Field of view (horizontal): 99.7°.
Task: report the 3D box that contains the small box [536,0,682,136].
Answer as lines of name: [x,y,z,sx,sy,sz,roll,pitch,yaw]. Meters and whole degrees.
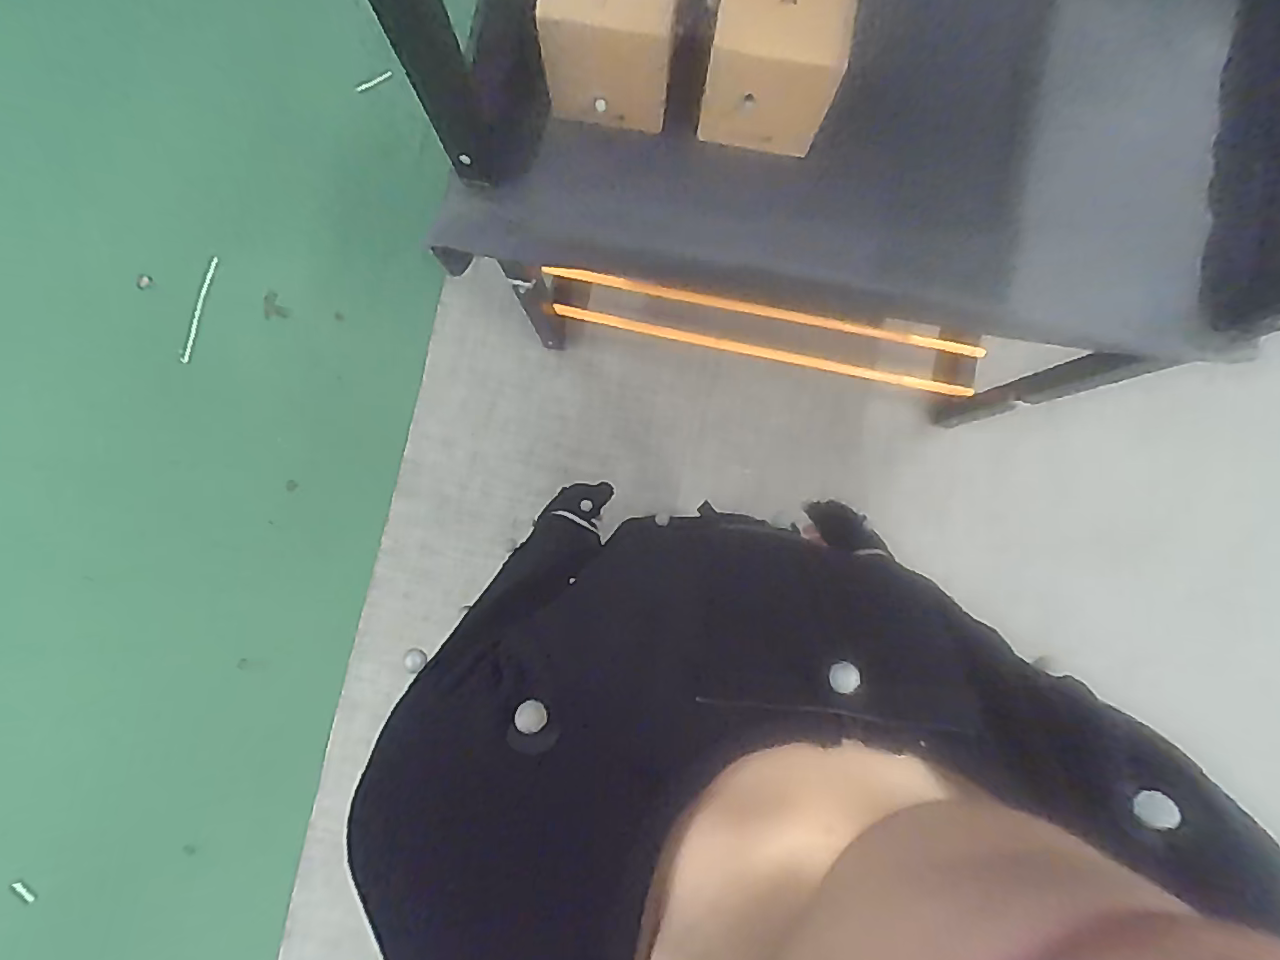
small box: [-0.033,-0.616,0.733,0.168,0.176,0.179,9,86,1]
